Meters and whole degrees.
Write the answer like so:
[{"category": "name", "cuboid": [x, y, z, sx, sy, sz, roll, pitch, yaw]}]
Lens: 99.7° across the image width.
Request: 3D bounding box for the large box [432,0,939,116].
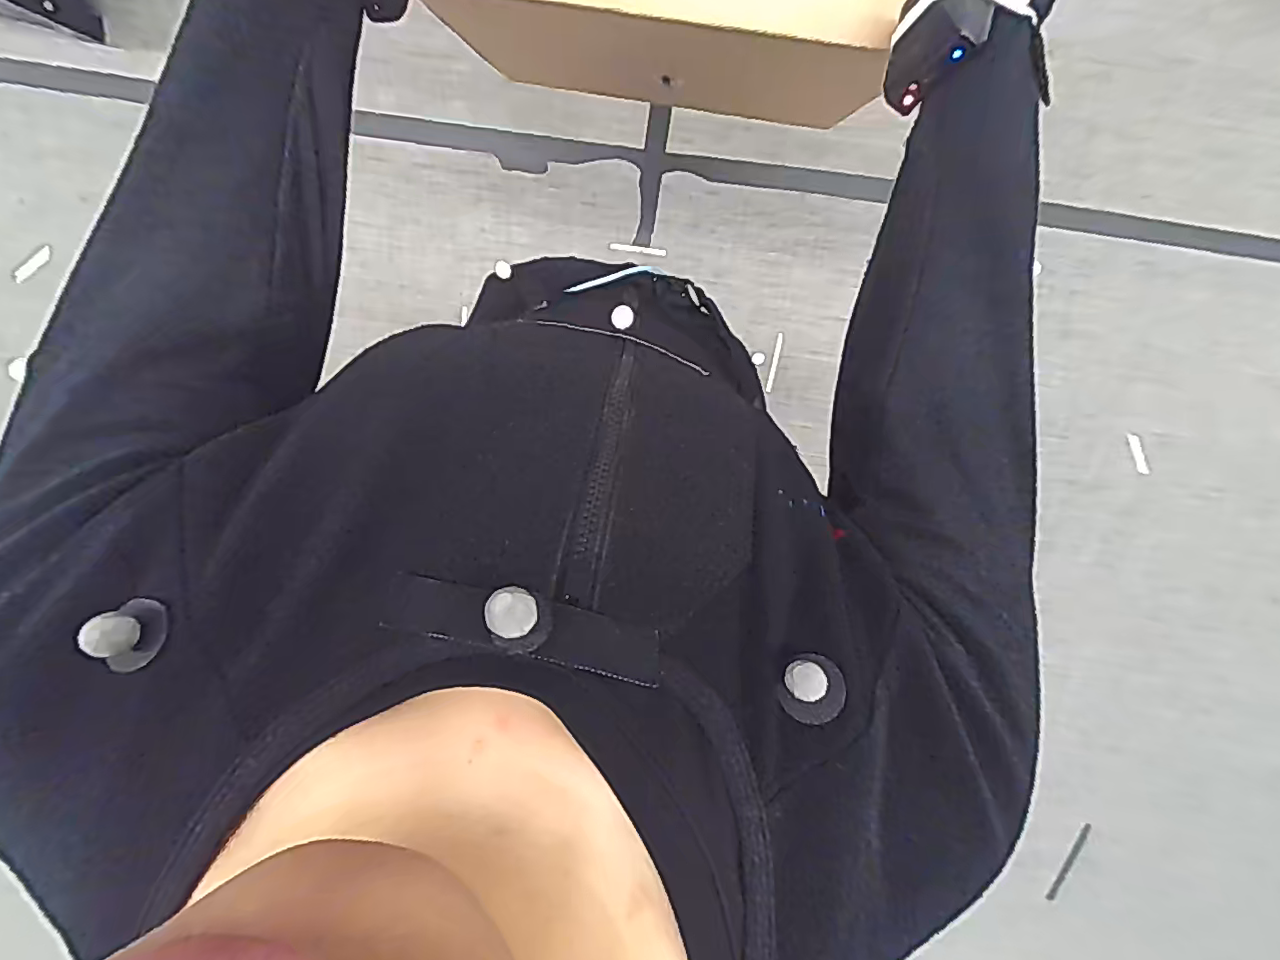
[{"category": "large box", "cuboid": [0.047, -0.544, 0.468, 0.408, 0.320, 0.320, 9, 114, 0]}]
